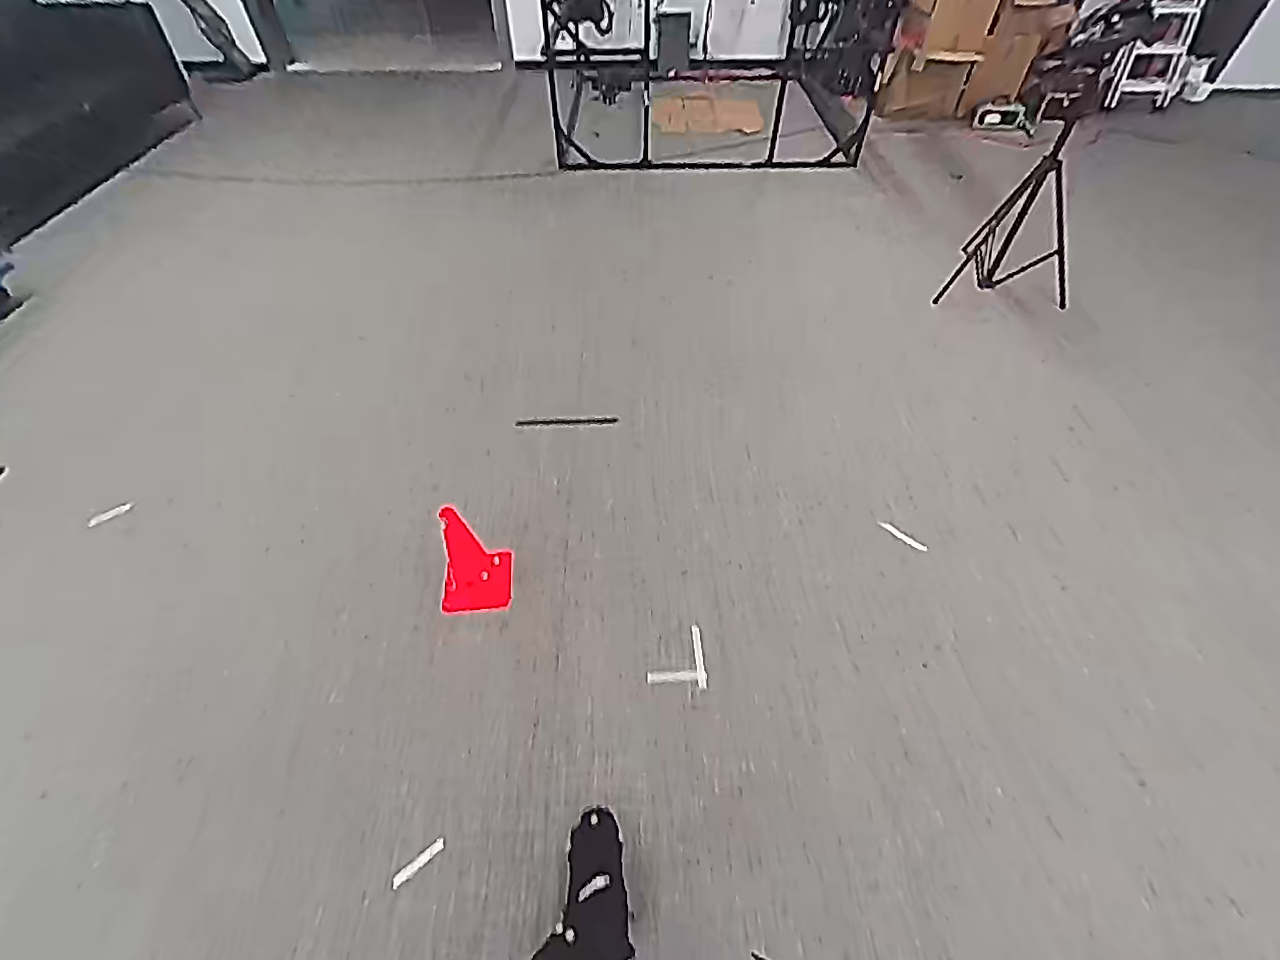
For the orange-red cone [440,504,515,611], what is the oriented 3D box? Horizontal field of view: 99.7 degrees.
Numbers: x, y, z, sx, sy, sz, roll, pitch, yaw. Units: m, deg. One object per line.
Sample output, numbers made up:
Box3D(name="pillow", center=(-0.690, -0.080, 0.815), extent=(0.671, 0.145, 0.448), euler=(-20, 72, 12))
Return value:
Box3D(name="orange-red cone", center=(-0.485, 0.189, 1.493), extent=(0.199, 0.360, 0.198), euler=(-4, 49, -2))
